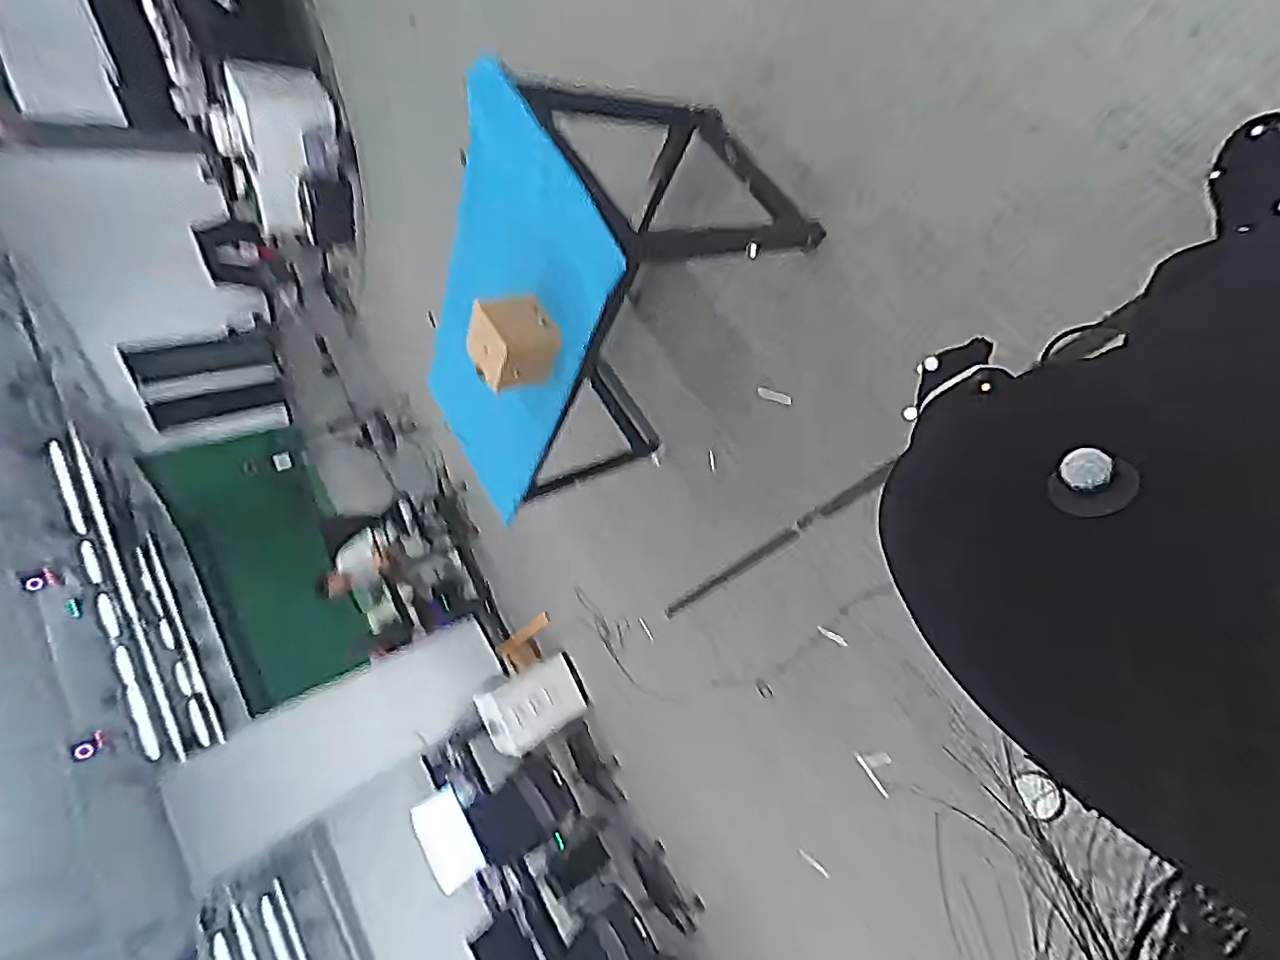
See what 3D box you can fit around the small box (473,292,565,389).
[{"bbox_3d":[-0.318,-0.370,1.425,0.168,0.176,0.179,57,143,14],"label":"small box"}]
